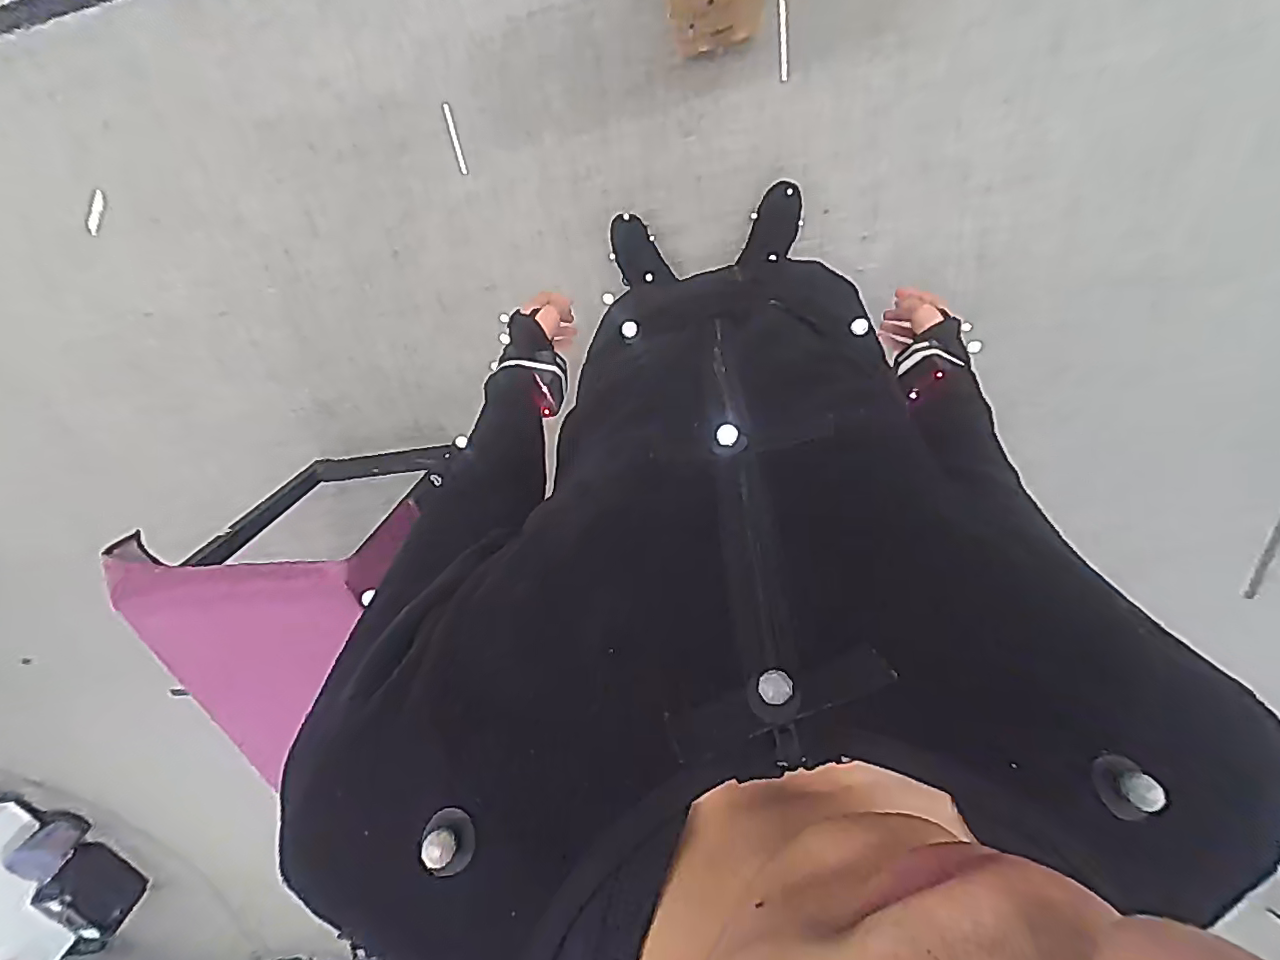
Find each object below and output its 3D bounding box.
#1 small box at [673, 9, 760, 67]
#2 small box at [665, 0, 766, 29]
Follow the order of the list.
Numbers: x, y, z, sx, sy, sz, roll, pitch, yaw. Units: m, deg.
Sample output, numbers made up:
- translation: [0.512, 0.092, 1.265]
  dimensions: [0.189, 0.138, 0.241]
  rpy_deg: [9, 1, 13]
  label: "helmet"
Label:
- translation: [0.147, -0.987, 1.110]
  dimensions: [0.168, 0.176, 0.179]
  rpy_deg: [-9, 119, 11]
  label: "small box"
- translation: [0.112, -0.831, 0.824]
  dimensions: [0.168, 0.176, 0.179]
  rpy_deg: [-6, 119, 9]
  label: "small box"
